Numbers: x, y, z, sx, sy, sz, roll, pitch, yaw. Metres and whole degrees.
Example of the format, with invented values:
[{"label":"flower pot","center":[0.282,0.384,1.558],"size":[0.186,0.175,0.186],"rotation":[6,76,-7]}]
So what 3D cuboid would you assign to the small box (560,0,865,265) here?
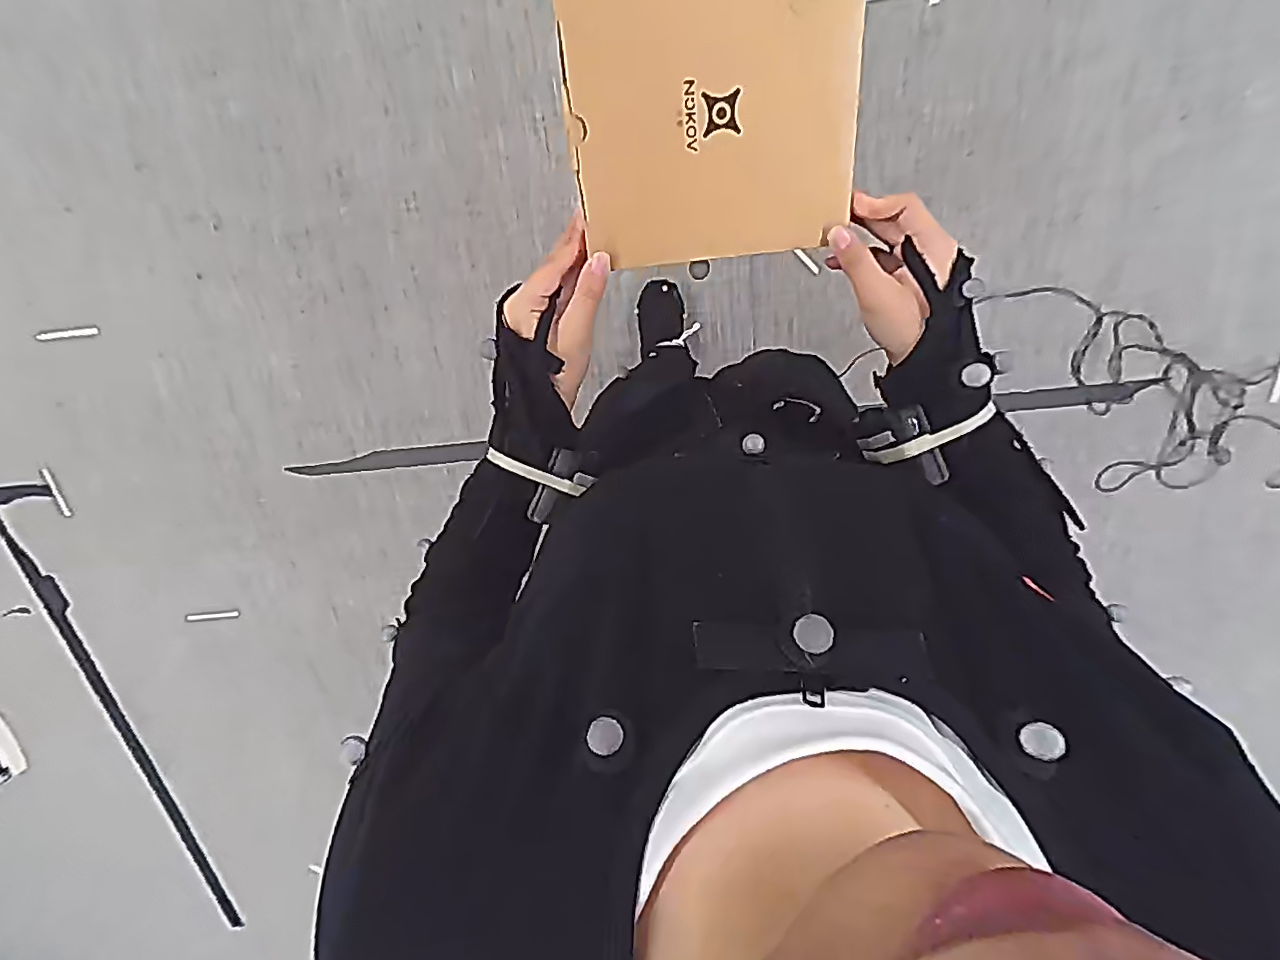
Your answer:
[{"label":"small box","center":[0.044,-0.265,0.401],"size":[0.179,0.176,0.168],"rotation":[-5,119,2]}]
